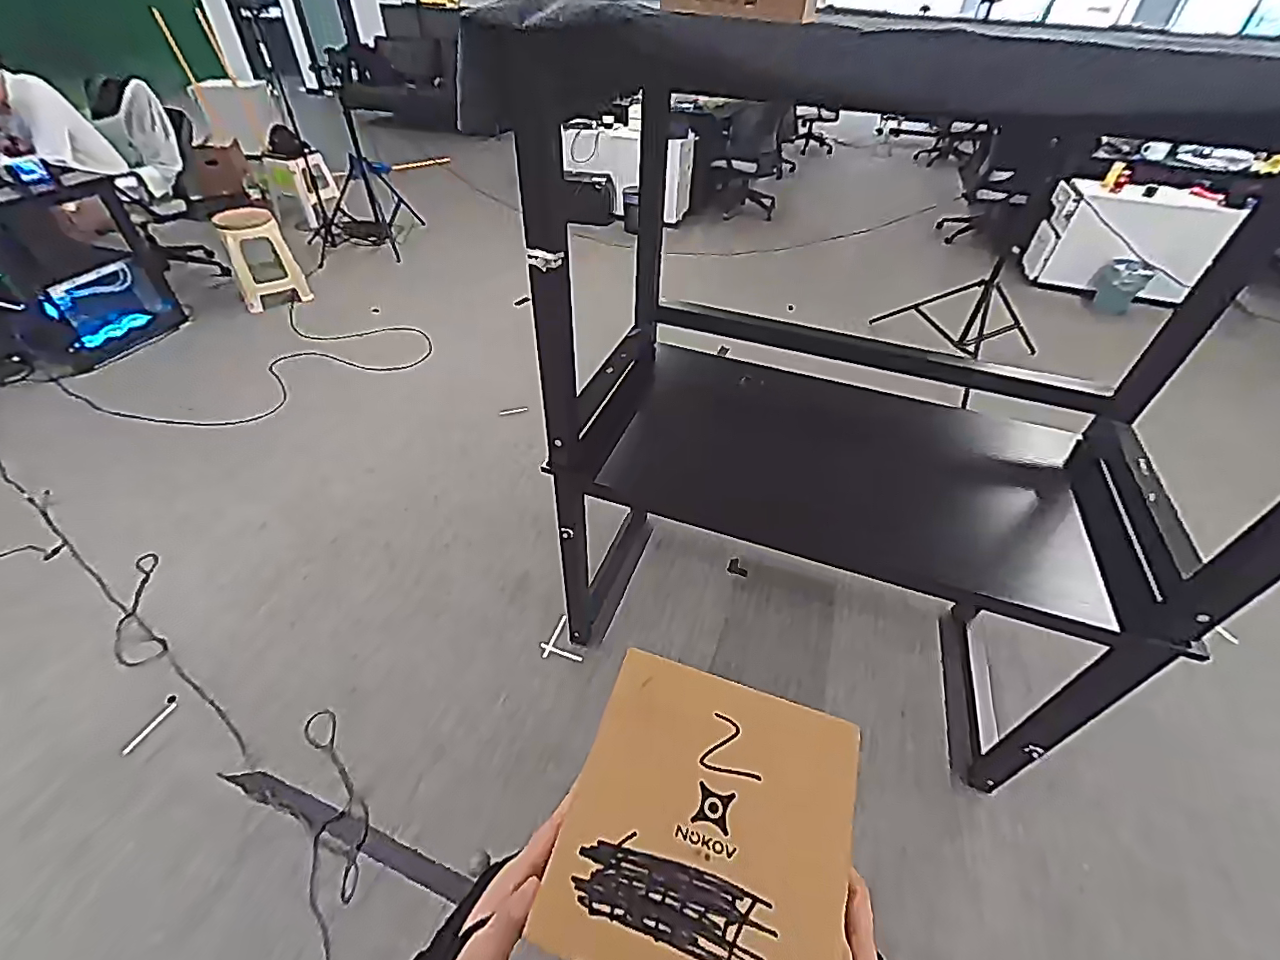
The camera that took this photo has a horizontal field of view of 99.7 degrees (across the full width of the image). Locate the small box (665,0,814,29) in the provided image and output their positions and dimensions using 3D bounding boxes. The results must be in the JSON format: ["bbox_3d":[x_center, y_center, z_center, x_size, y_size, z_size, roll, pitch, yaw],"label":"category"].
[{"bbox_3d":[0.129,-0.631,0.619,0.168,0.176,0.179,14,42,10],"label":"small box"}]
